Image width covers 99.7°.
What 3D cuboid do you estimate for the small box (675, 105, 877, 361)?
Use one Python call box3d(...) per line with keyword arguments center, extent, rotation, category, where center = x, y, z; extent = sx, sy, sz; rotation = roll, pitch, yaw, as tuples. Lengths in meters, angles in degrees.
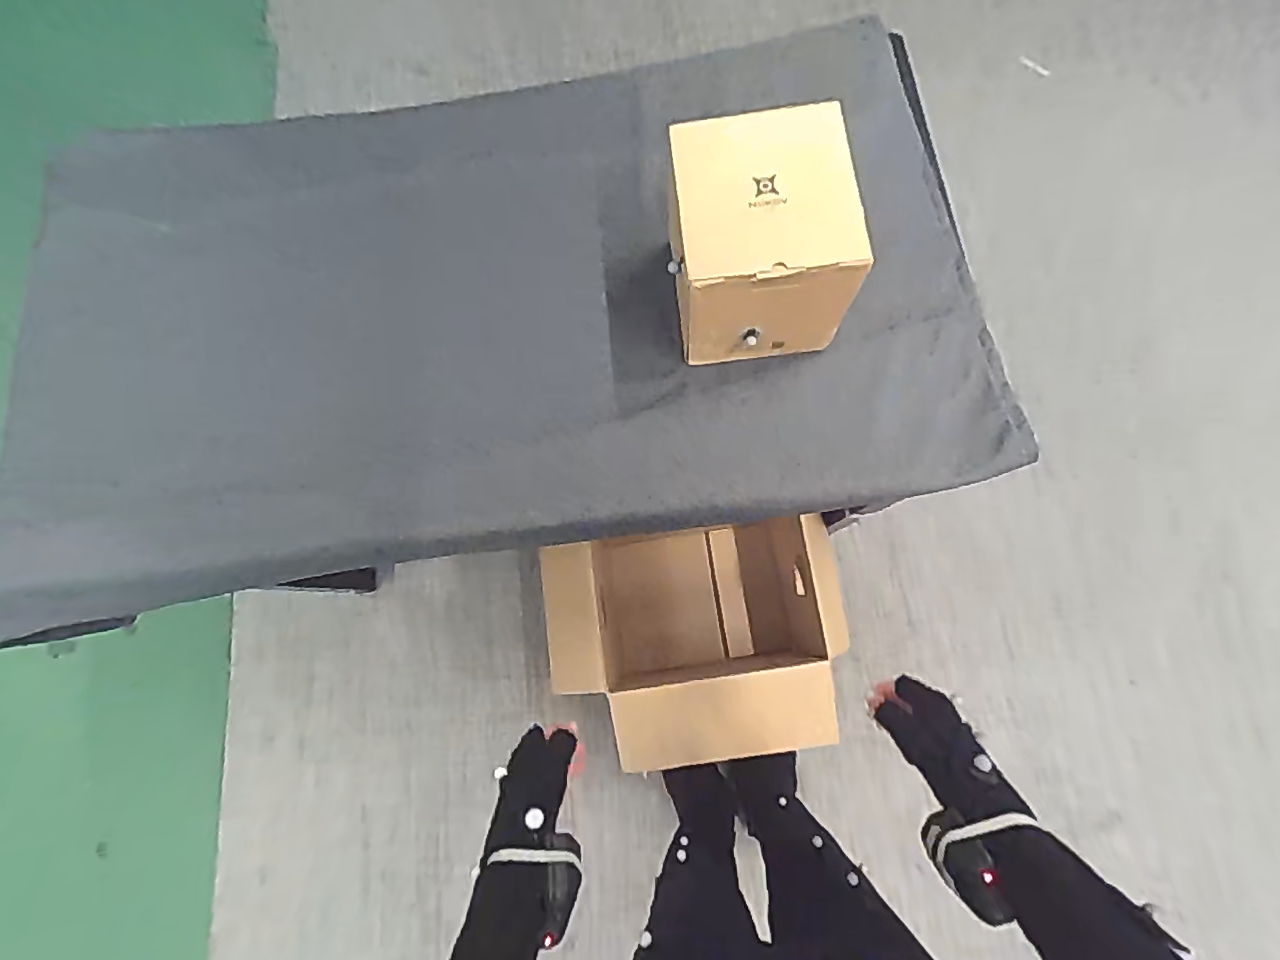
box3d(center=(0.126, -0.248, 0.575), extent=(0.168, 0.176, 0.179), rotation=(-6, 77, 3), category="small box")
